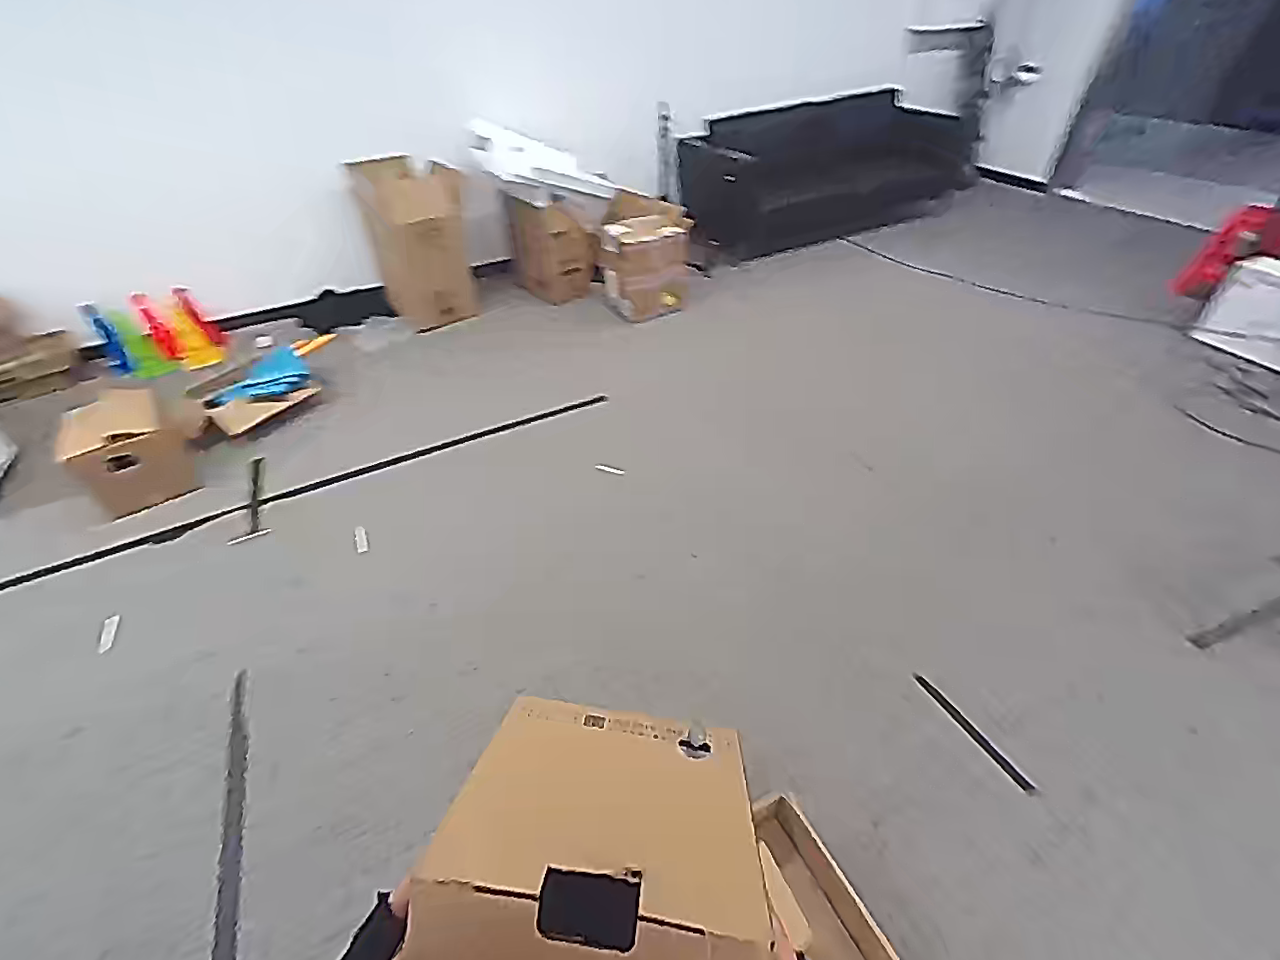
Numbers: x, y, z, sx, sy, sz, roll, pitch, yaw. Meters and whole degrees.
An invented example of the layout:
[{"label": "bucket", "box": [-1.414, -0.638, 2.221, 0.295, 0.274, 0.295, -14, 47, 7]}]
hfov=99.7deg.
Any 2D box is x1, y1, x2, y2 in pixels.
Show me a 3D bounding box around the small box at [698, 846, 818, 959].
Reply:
[{"label": "small box", "box": [0.230, 0.894, 1.097, 0.168, 0.176, 0.179, -18, 44, -16]}]
